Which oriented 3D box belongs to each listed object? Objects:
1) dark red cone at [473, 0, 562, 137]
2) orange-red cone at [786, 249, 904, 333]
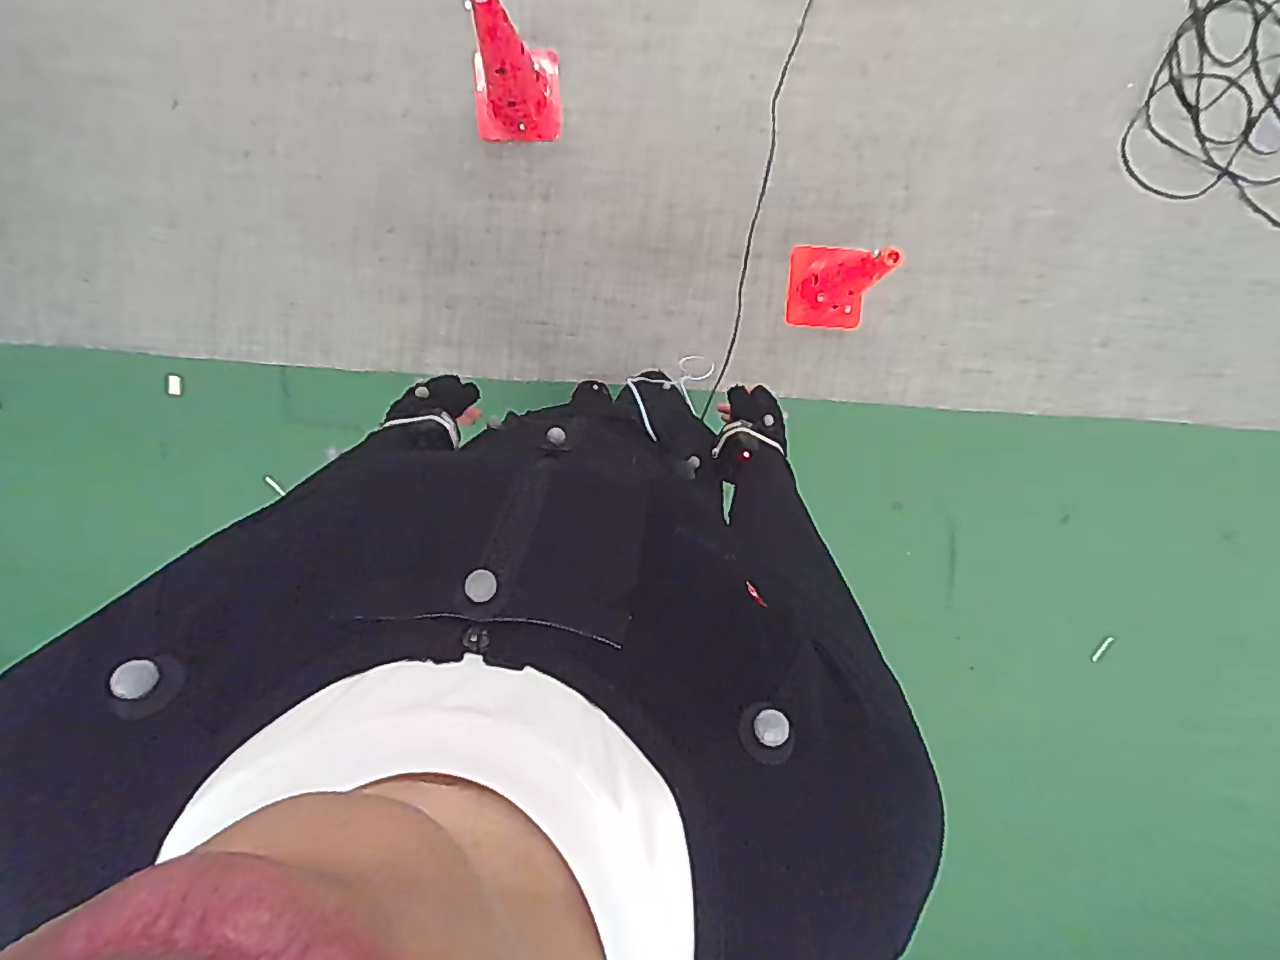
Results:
[{"bbox_3d":[-0.282,-0.889,1.116,0.202,0.394,0.201,-2,101,-2],"label":"dark red cone"},{"bbox_3d":[0.494,-0.465,1.241,0.198,0.360,0.199,4,98,-4],"label":"orange-red cone"}]
